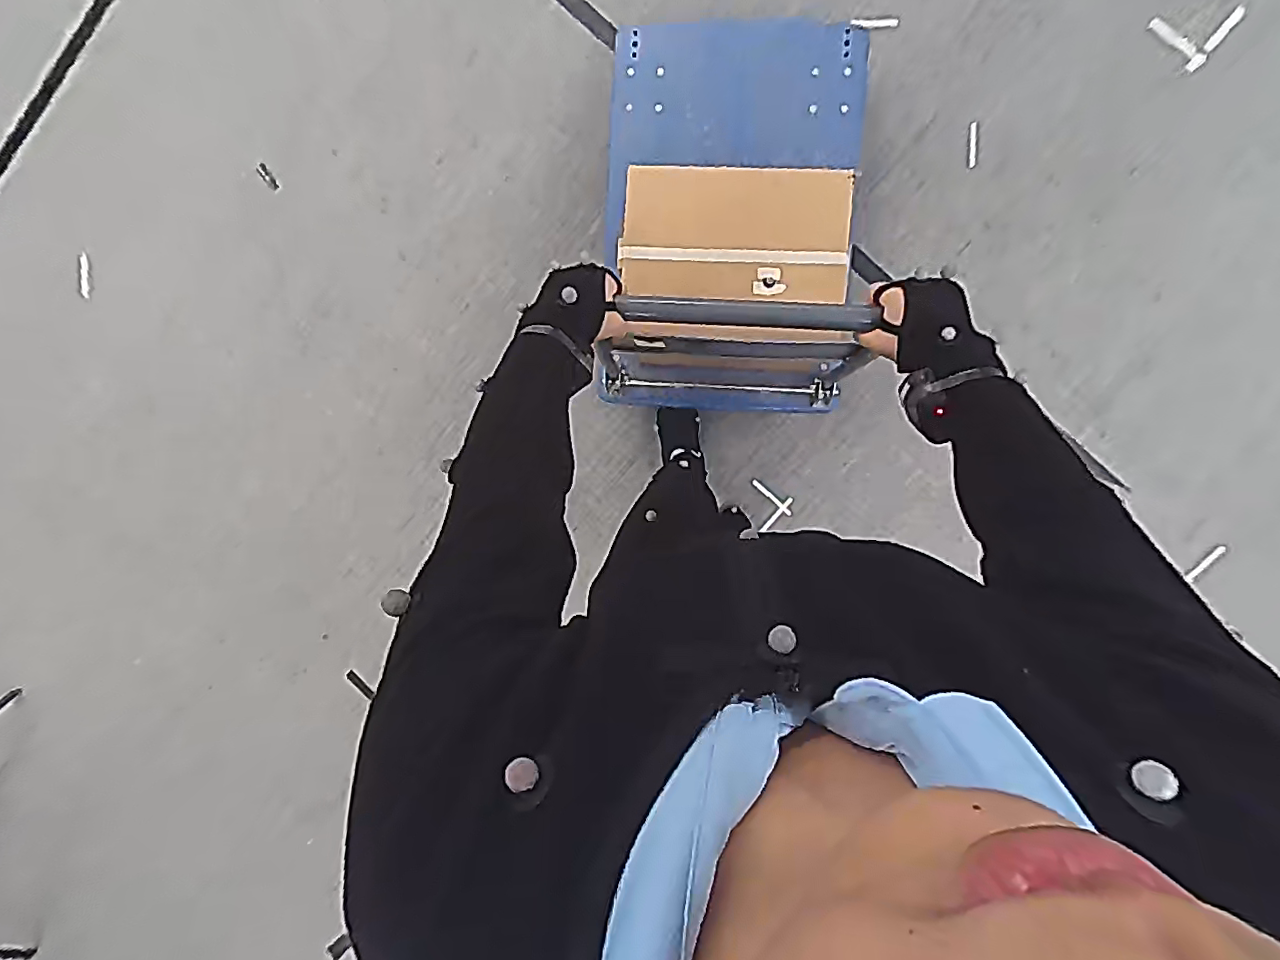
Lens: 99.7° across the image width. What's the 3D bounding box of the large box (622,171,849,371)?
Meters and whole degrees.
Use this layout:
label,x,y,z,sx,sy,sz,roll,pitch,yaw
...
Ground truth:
label,x,y,z,sx,sy,sz,roll,pitch,yaw
large box,0.177,-0.409,1.129,0.408,0.320,0.320,4,95,4
